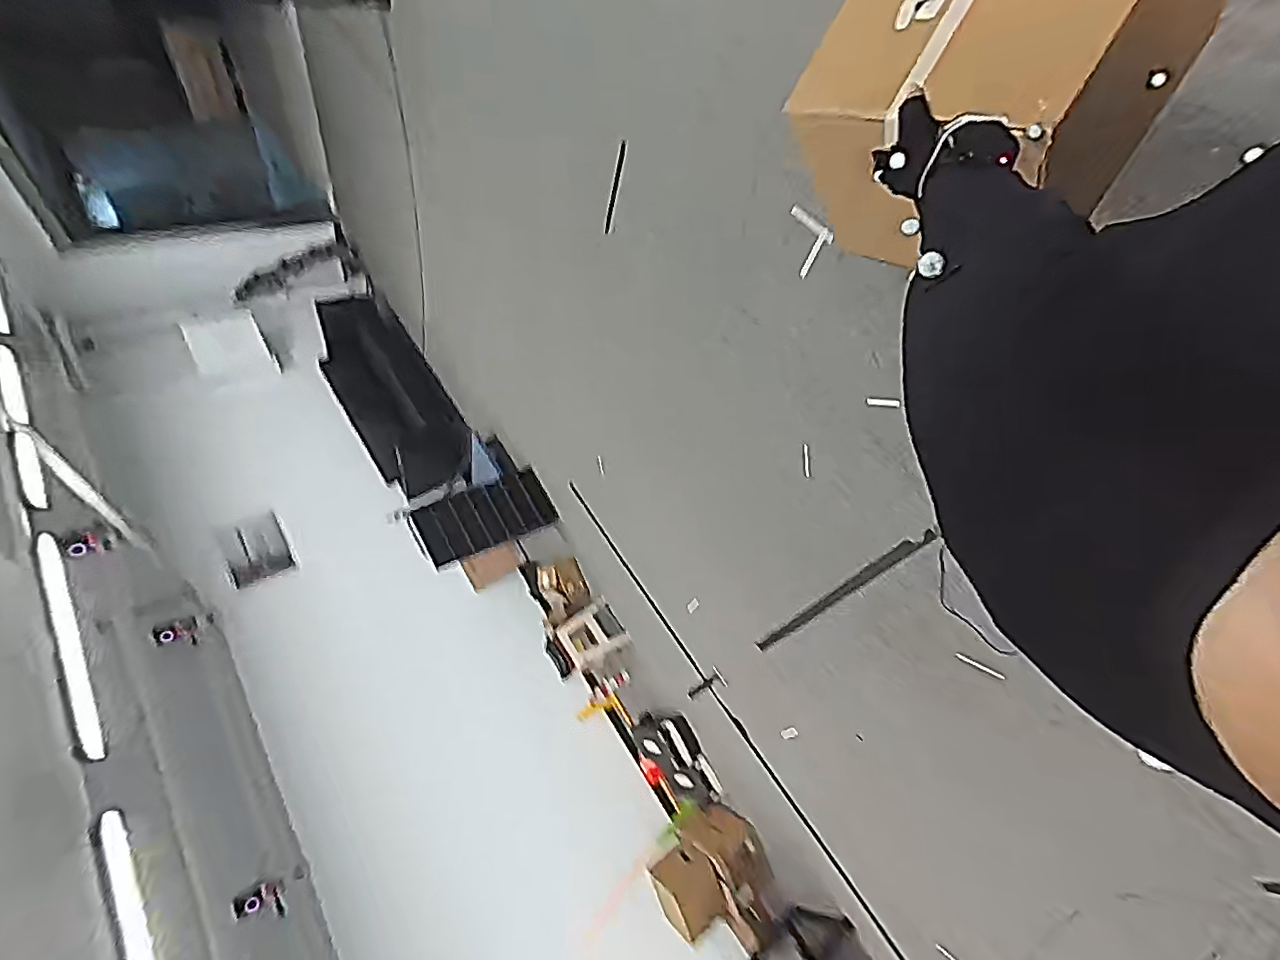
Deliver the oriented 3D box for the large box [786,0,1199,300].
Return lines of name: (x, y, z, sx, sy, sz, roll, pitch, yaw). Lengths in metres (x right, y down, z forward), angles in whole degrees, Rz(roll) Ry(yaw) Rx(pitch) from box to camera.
large box: (0.469, -0.525, 0.722, 0.320, 0.320, 0.408, 34, 98, 37)
